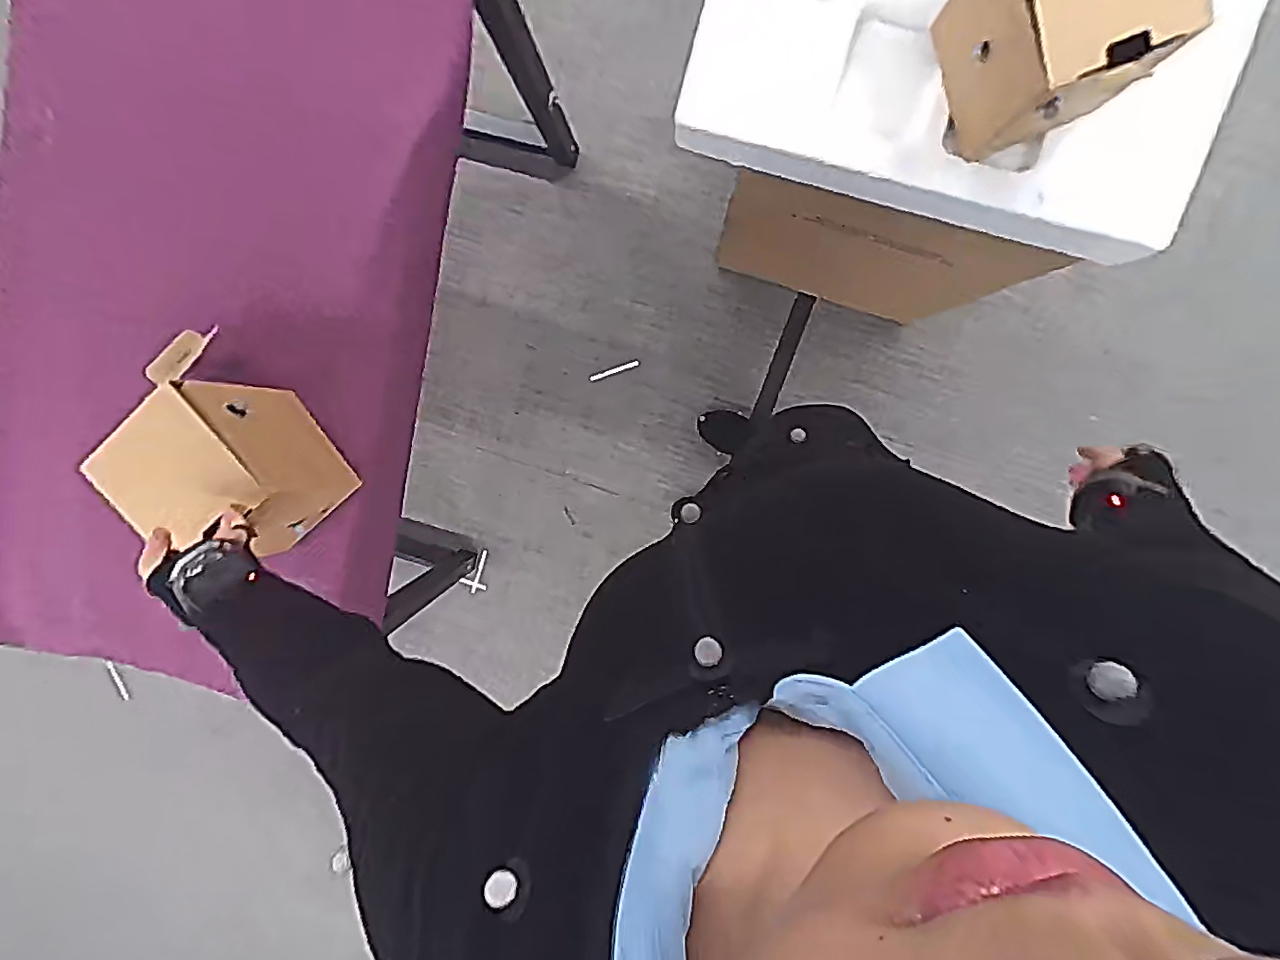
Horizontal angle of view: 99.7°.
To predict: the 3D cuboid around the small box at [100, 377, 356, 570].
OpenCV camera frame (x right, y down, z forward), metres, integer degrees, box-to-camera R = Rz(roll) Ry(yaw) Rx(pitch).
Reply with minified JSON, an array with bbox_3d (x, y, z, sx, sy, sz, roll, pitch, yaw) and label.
[{"bbox_3d":[-0.531,-0.010,0.720,0.168,0.176,0.179,-38,88,10],"label":"small box"}]
